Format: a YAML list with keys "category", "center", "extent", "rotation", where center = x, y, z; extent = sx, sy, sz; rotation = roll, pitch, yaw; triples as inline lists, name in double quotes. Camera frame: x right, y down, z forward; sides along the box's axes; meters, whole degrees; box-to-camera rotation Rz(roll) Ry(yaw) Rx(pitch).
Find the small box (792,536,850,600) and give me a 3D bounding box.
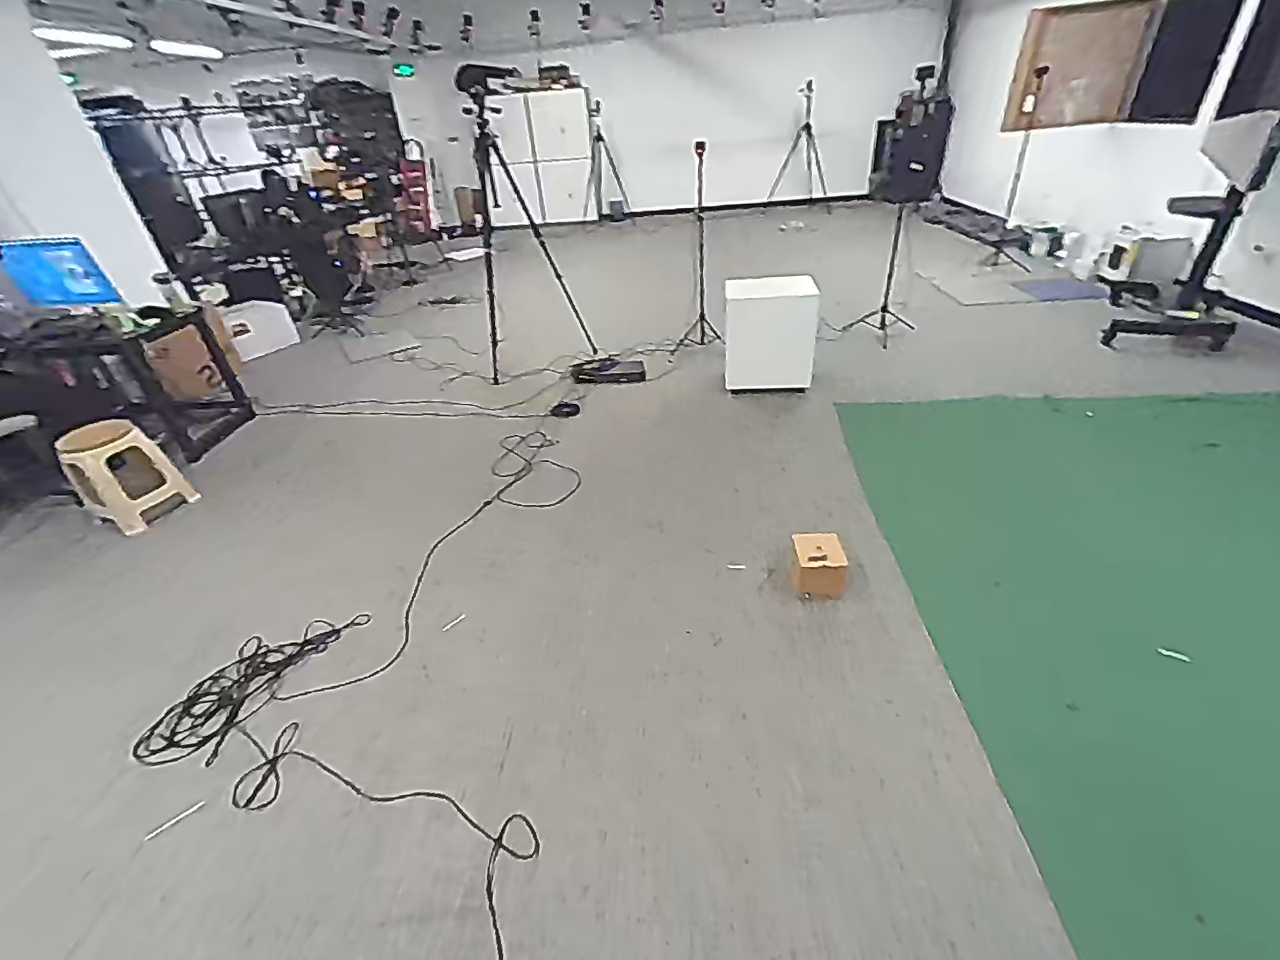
- category: "small box"
  center: [0.658, 0.324, 1.980]
  extent: [0.168, 0.176, 0.179]
  rotation: [-2, 34, 5]
